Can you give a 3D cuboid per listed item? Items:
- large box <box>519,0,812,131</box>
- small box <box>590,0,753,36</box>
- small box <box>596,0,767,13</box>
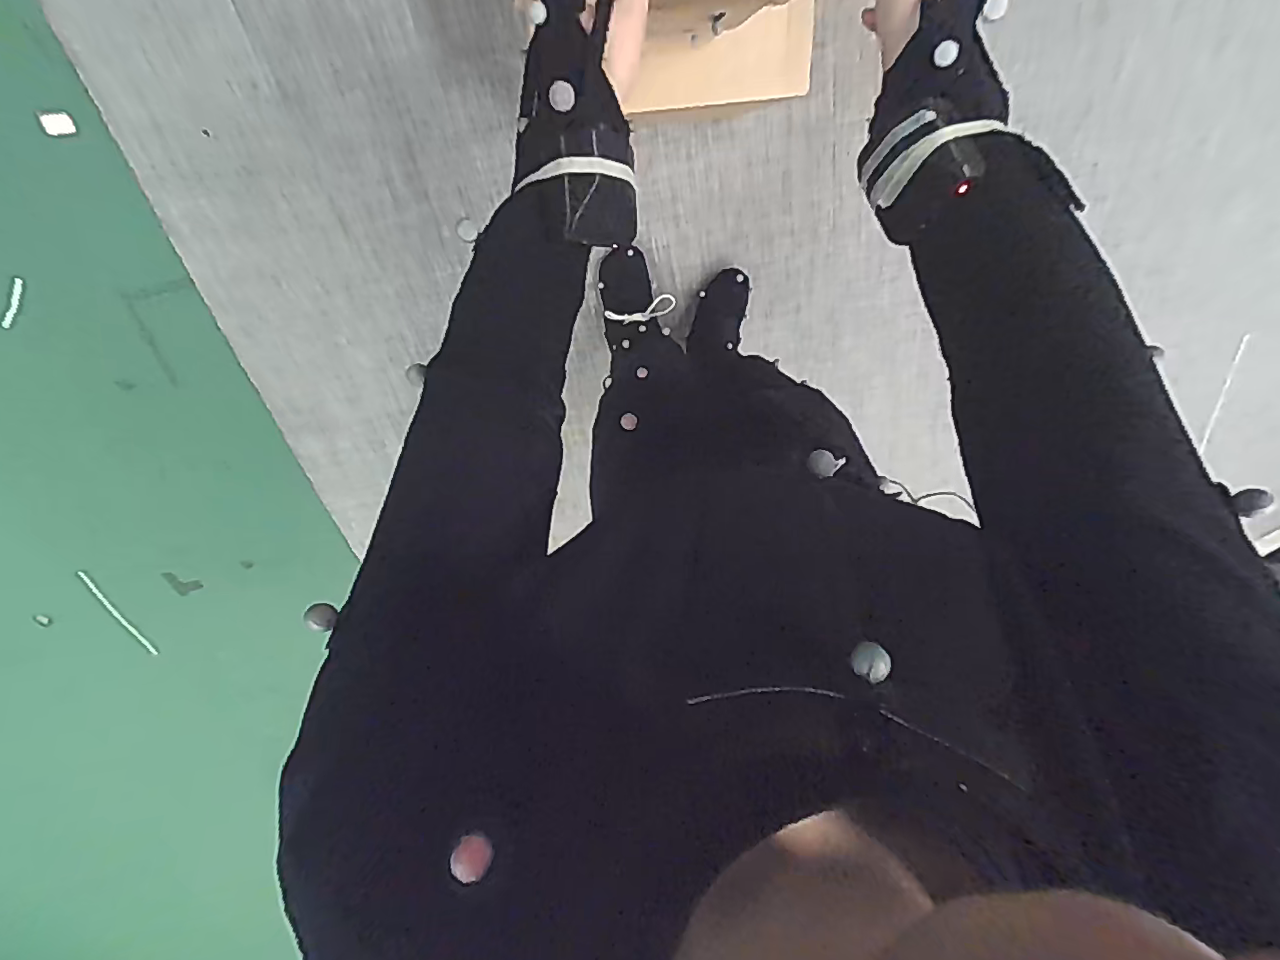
[{"bbox_3d":[0.018,-0.759,0.846,0.408,0.320,0.320,-10,122,-5],"label":"large box"},{"bbox_3d":[0.032,-0.539,0.502,0.168,0.176,0.179,-10,120,-5],"label":"small box"},{"bbox_3d":[0.049,-0.446,0.369,0.179,0.176,0.168,-9,122,-5],"label":"small box"}]
